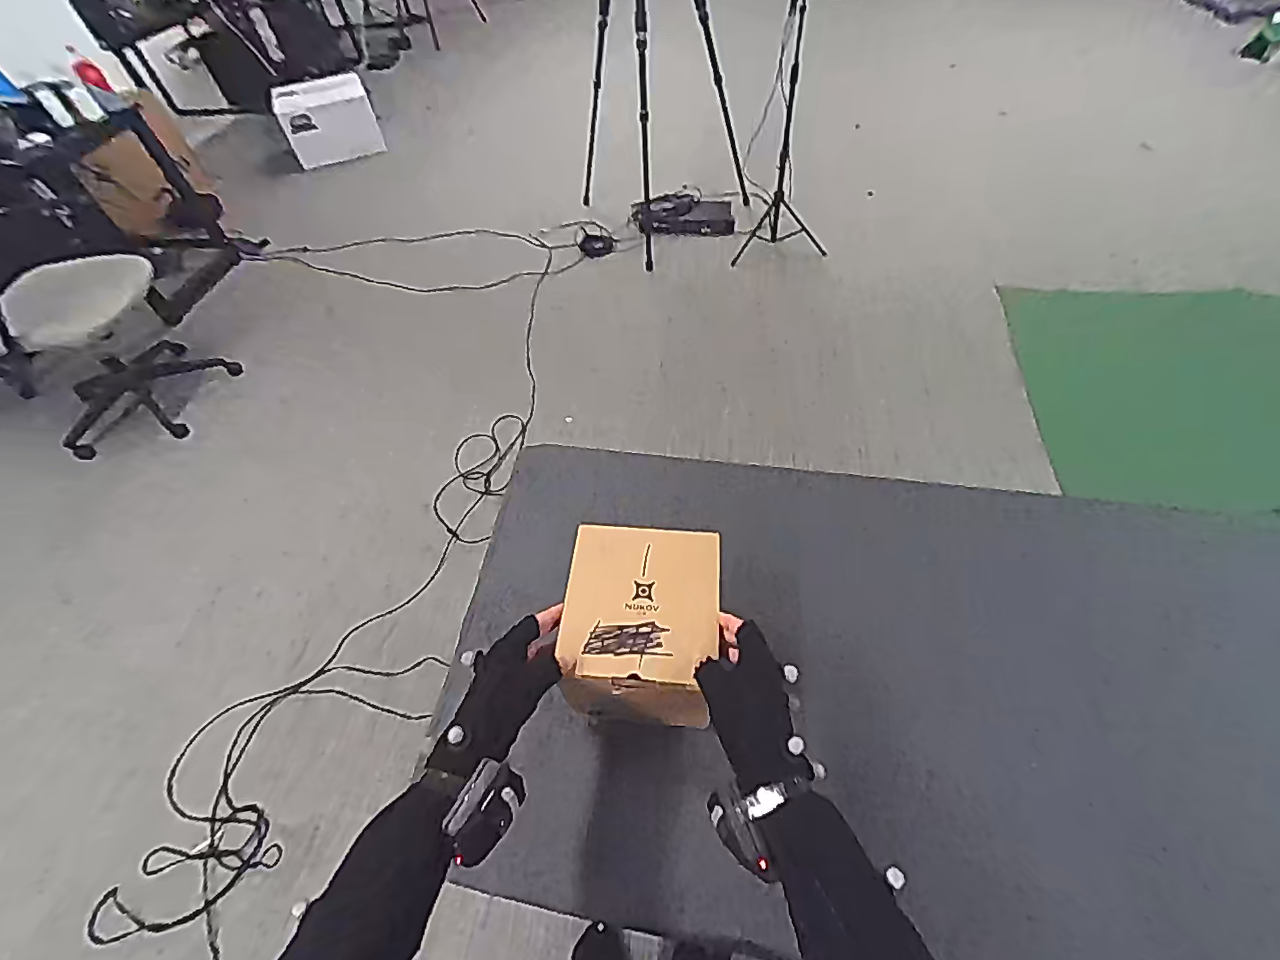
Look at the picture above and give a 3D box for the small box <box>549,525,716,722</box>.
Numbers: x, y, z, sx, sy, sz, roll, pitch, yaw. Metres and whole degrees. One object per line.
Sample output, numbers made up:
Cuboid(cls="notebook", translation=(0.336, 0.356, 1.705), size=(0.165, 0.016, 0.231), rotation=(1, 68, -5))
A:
Cuboid(cls="small box", translation=(0.002, 0.175, 0.643), size=(0.168, 0.176, 0.179), rotation=(4, 53, 5))
